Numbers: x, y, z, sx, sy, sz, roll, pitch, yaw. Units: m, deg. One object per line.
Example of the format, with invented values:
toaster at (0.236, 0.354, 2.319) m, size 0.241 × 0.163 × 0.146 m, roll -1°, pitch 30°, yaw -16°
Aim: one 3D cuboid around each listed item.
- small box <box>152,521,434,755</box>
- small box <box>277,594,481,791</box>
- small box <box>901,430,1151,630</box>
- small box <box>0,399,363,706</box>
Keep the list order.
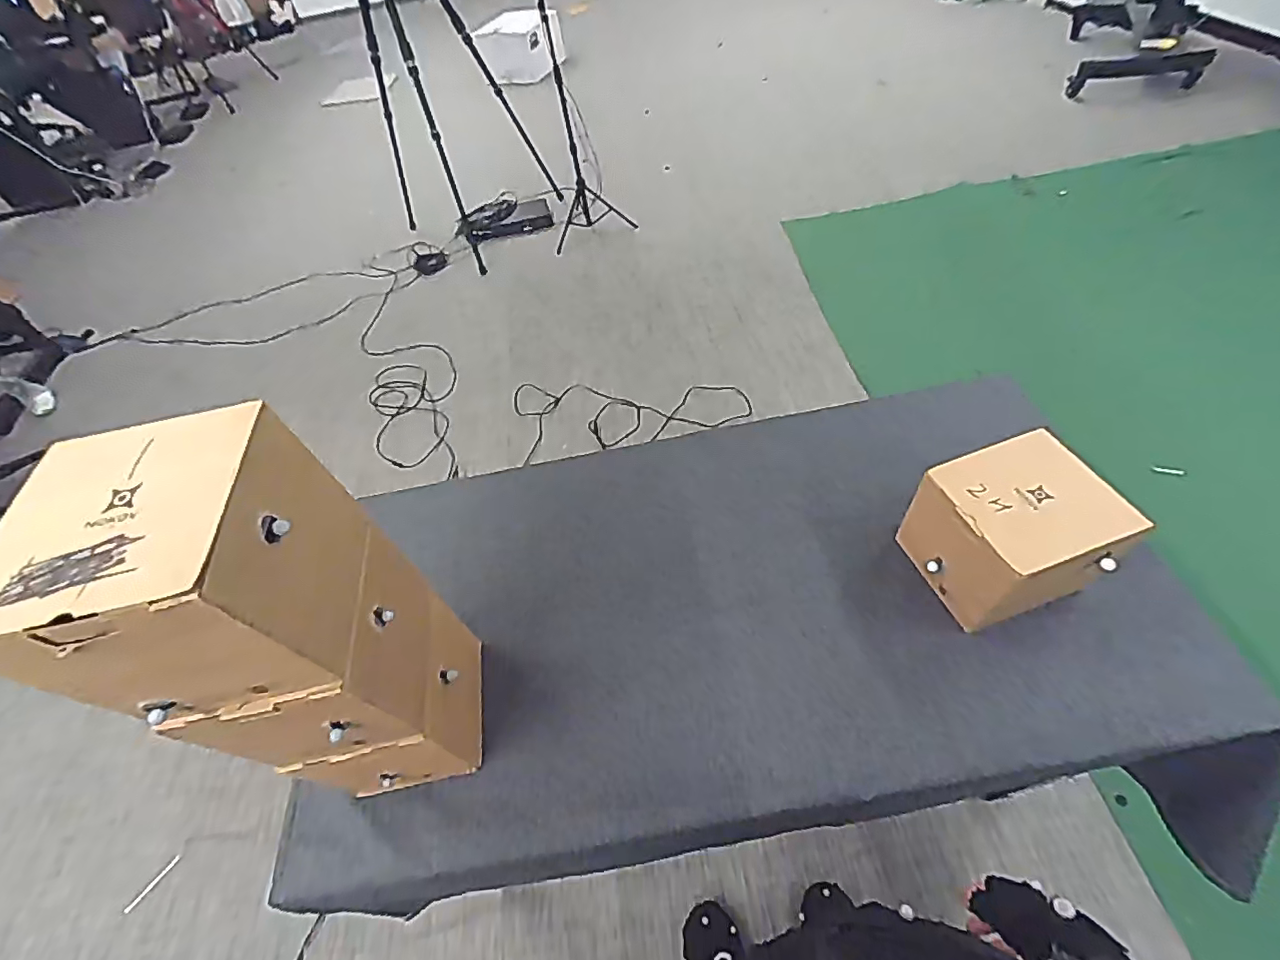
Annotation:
small box at (-0.329, 0.171, 0.562) m, size 0.168 × 0.176 × 0.179 m, roll -11°, pitch 52°, yaw -1°
small box at (-0.311, 0.273, 0.688) m, size 0.168 × 0.176 × 0.179 m, roll -12°, pitch 52°, yaw -1°
small box at (0.479, 0.069, 0.708) m, size 0.179 × 0.176 × 0.168 m, roll -19°, pitch 52°, yaw -5°
small box at (-0.350, 0.067, 0.437) m, size 0.168 × 0.176 × 0.179 m, roll -12°, pitch 52°, yaw -2°
